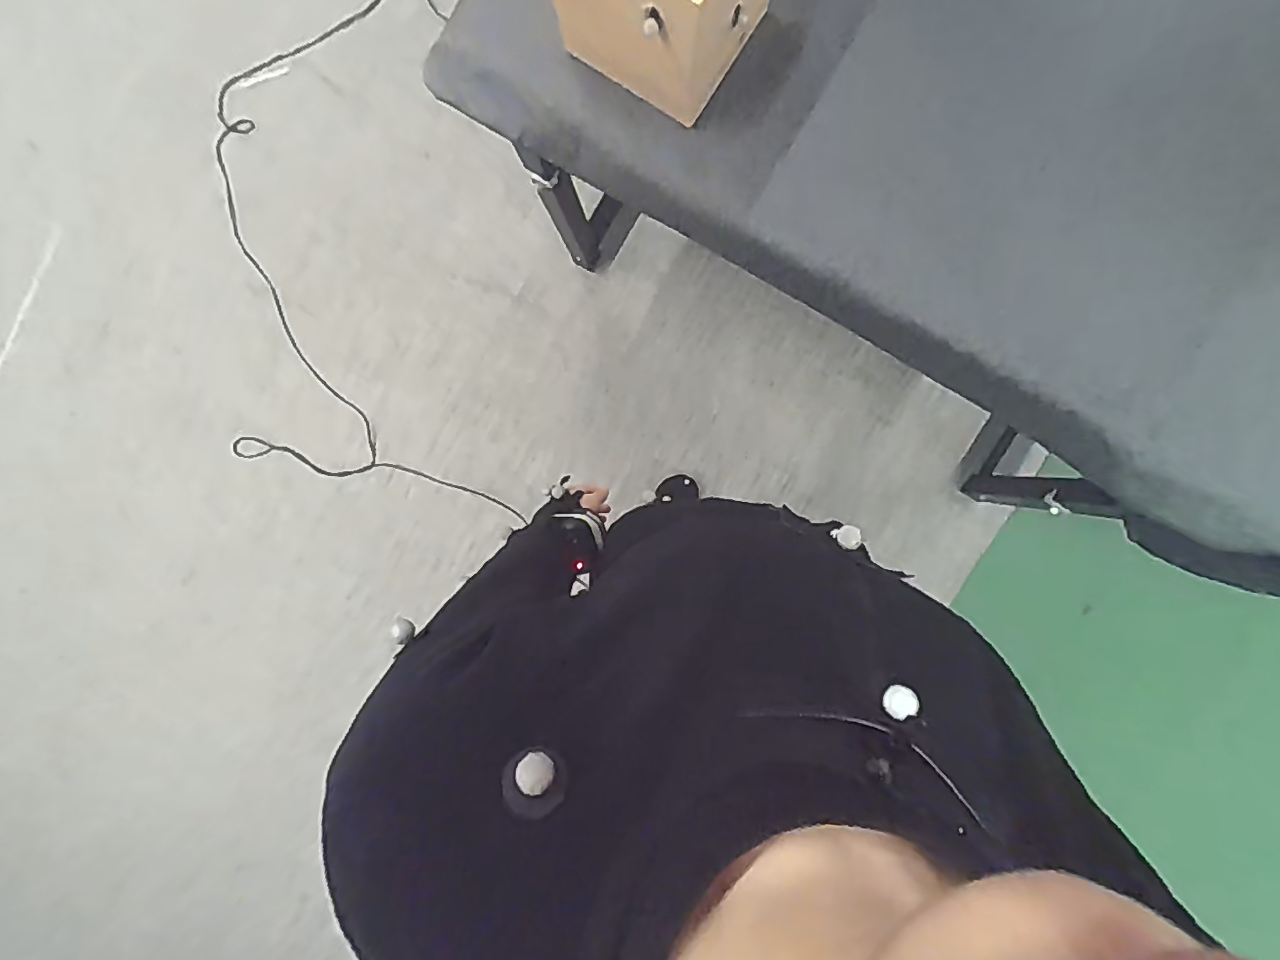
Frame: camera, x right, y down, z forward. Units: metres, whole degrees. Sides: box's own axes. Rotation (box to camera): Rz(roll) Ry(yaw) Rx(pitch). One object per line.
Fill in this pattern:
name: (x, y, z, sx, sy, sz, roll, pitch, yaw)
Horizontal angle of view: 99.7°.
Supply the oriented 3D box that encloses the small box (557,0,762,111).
small box: (0.026, -0.524, 0.546, 0.179, 0.176, 0.168, 33, 91, 2)
